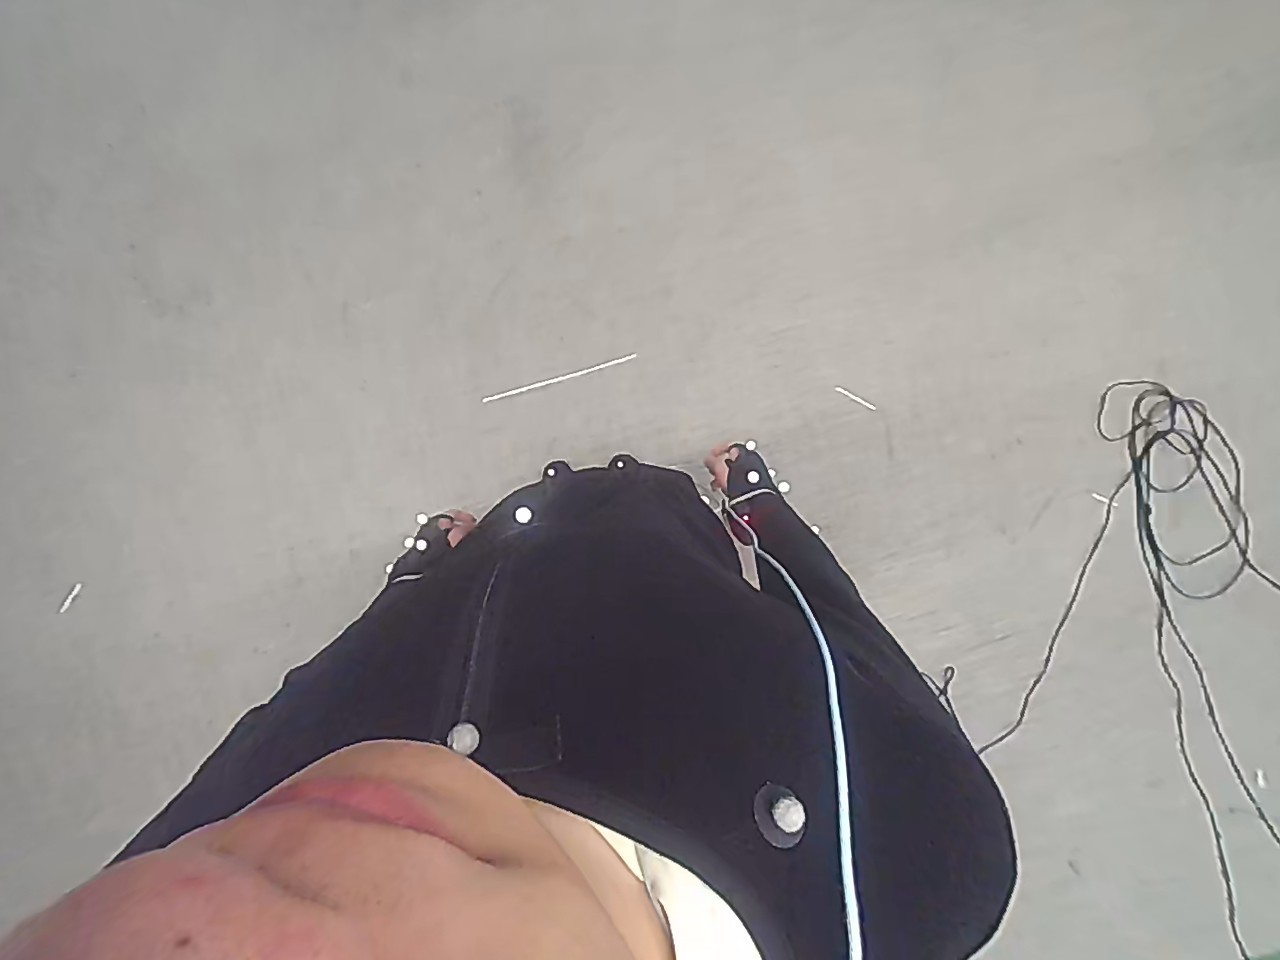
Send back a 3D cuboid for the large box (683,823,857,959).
[{"bbox_3d":[0.374,1.299,1.576,0.408,0.320,0.320,-18,93,-1],"label":"large box"}]
